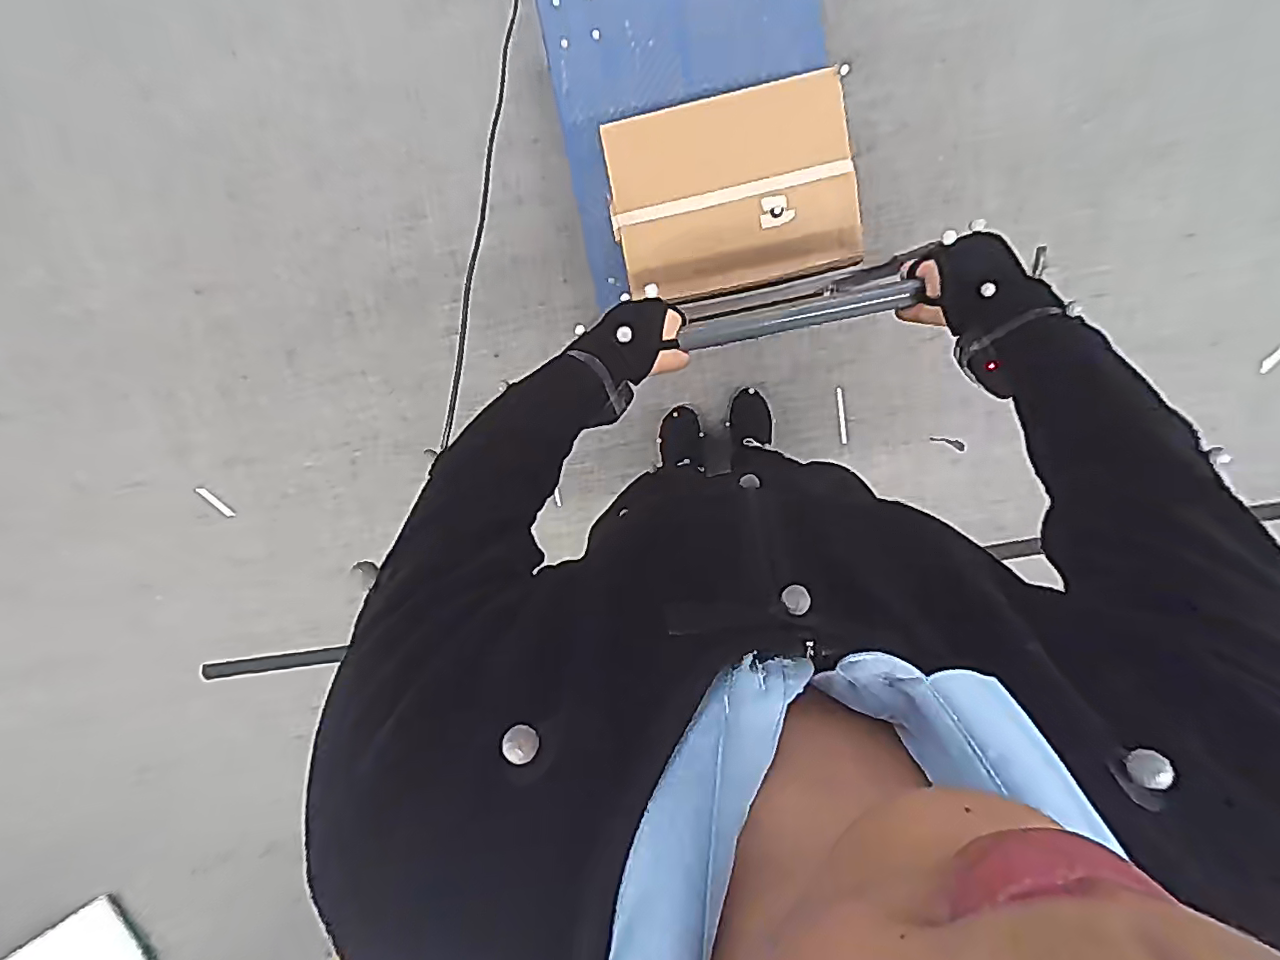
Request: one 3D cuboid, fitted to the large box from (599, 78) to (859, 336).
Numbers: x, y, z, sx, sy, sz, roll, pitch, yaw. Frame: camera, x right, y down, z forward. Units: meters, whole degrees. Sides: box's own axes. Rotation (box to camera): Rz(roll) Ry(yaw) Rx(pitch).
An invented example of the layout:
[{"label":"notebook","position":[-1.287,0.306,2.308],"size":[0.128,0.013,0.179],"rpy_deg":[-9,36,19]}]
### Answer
[{"label":"large box","position":[0.160,-0.495,1.068],"size":[0.408,0.320,0.320],"rpy_deg":[-11,99,5]}]
